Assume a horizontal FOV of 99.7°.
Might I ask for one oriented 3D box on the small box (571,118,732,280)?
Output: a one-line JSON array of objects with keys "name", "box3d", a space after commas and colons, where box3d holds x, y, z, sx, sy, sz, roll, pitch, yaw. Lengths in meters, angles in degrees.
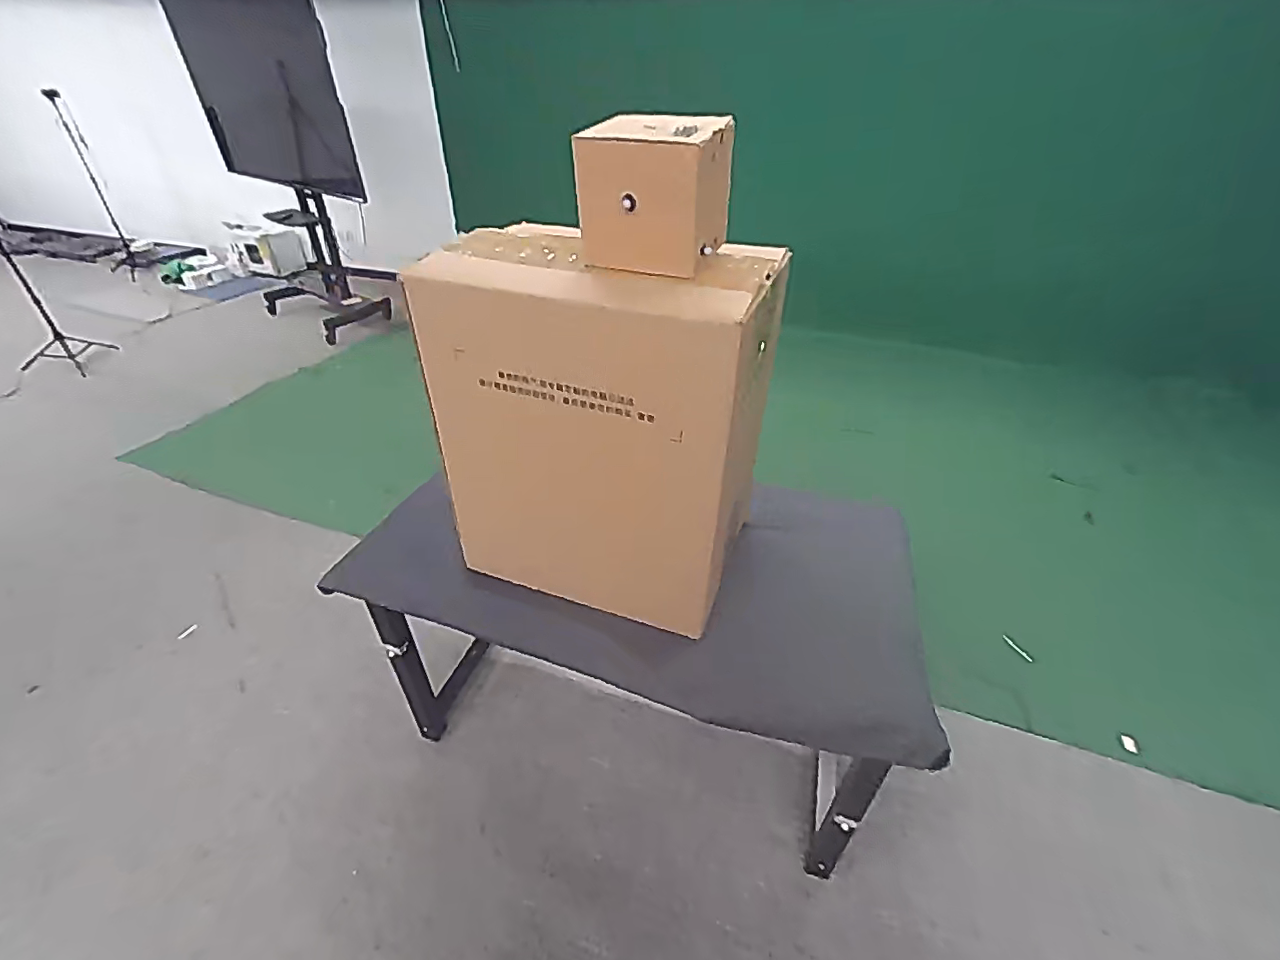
[{"name": "small box", "box3d": [0.022, -0.406, 0.783, 0.179, 0.176, 0.168, 14, 45, 18]}]
